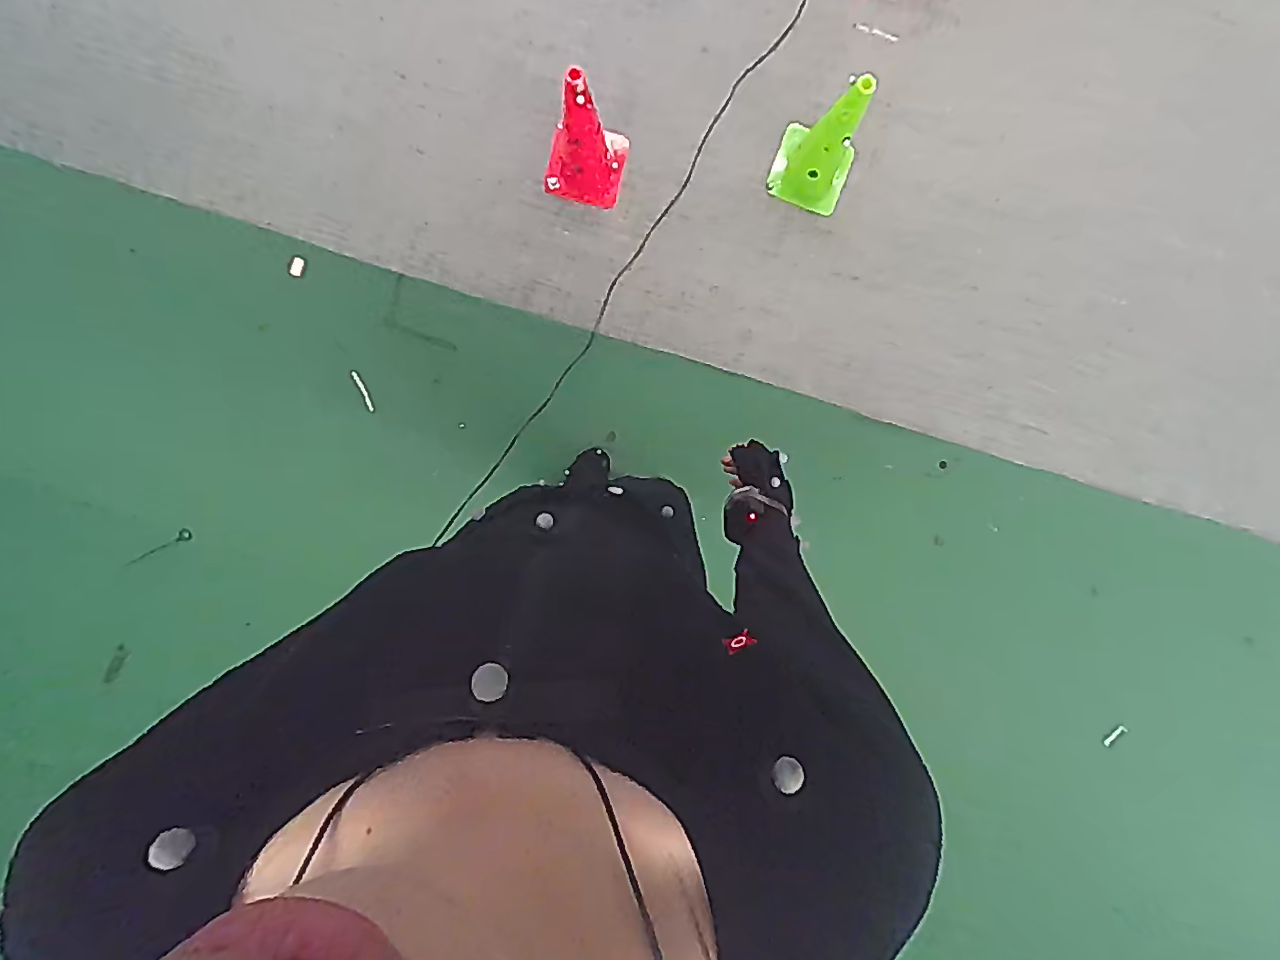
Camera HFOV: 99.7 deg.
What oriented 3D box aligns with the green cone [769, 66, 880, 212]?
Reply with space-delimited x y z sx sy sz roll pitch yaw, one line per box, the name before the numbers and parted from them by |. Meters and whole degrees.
green cone | 0.476 -0.844 1.301 0.200 0.368 0.202 19 92 -3
